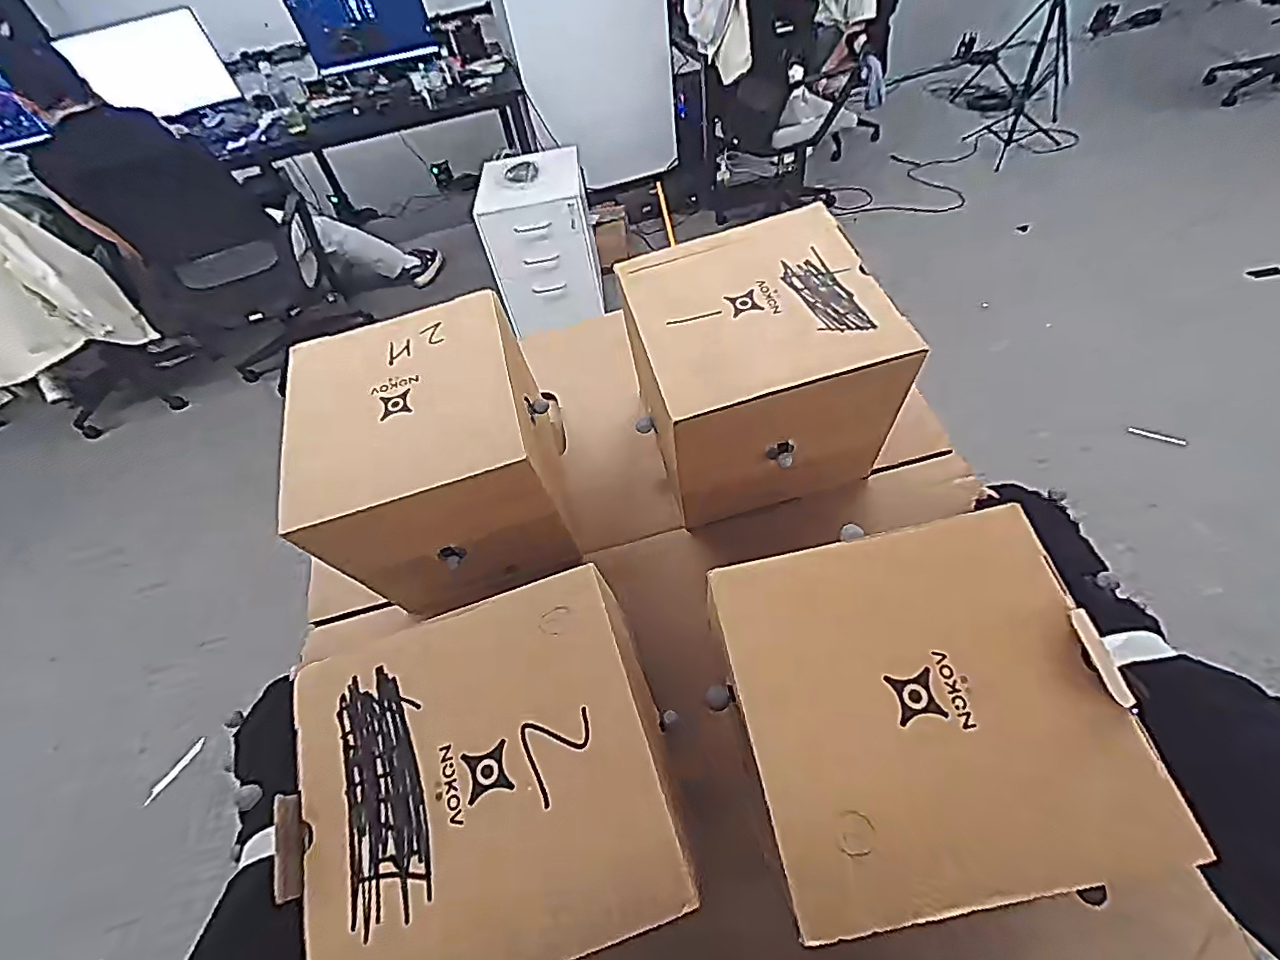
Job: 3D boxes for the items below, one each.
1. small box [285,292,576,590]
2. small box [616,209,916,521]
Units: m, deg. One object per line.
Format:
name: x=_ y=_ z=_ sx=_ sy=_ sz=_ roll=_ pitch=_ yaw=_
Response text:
small box: x=-0.162 y=-0.020 z=0.462 sx=0.168 sy=0.176 sz=0.179 roll=-16 pitch=59 yaw=-1
small box: x=0.091 y=-0.087 z=0.461 sx=0.179 sy=0.176 sz=0.168 roll=-16 pitch=59 yaw=0
